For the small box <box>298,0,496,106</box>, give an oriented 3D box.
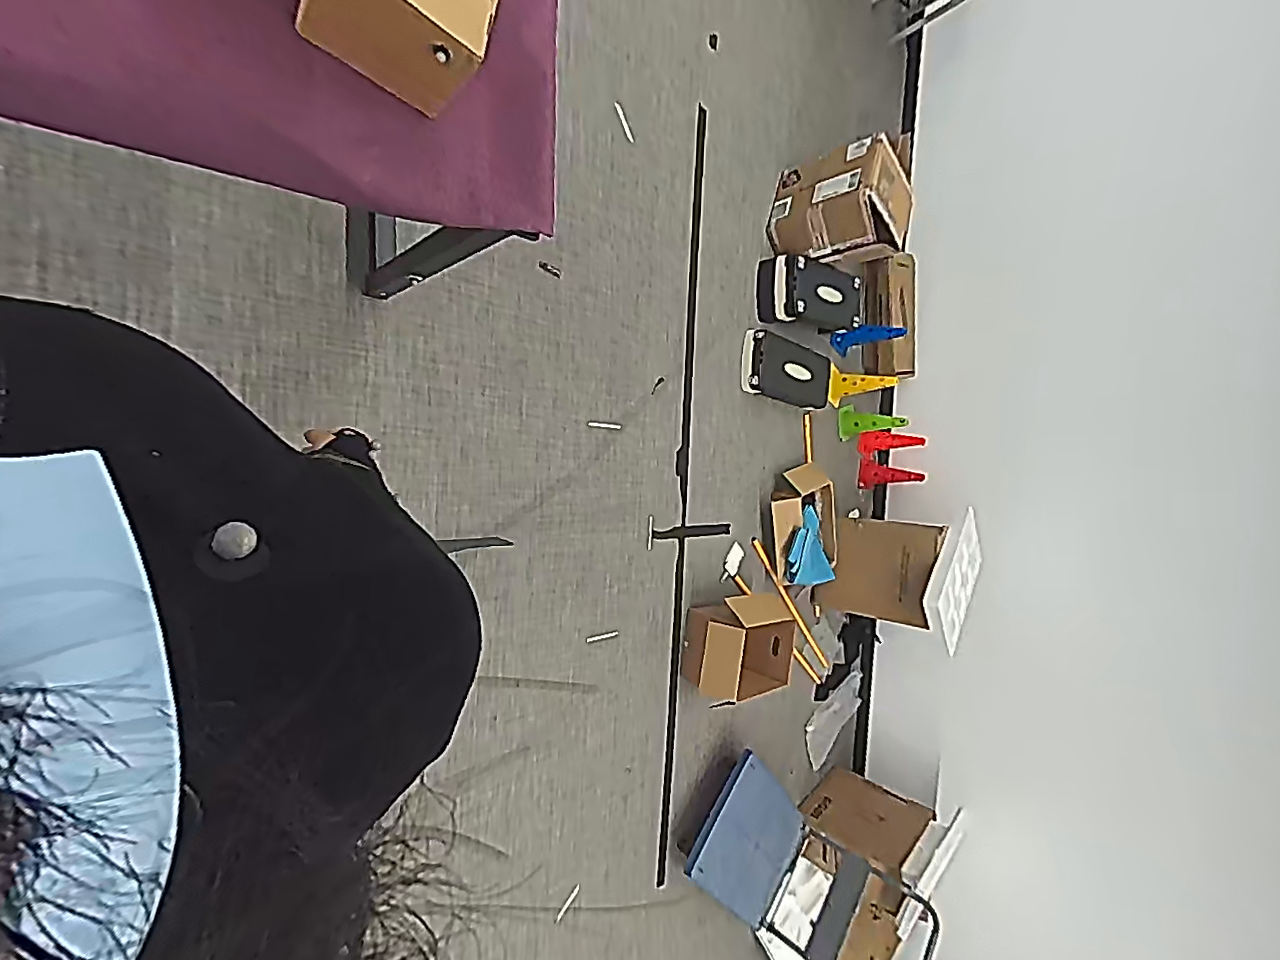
[{"bbox_3d":[-0.291,-0.607,0.658,0.179,0.176,0.168,13,85,-43],"label":"small box"}]
